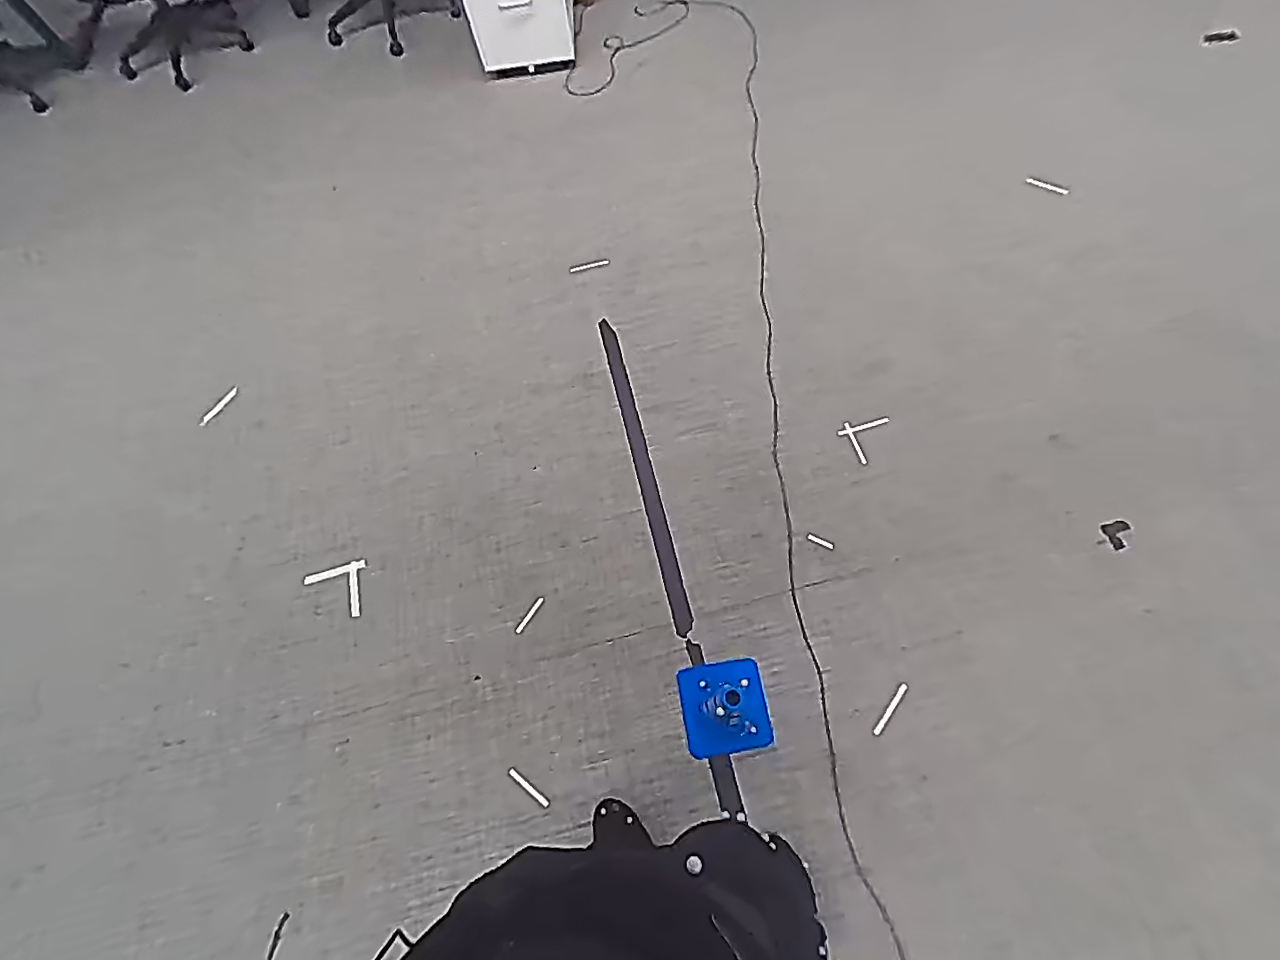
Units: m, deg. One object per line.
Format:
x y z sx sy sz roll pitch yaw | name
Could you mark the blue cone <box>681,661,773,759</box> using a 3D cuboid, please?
0.186 0.461 1.112 0.193 0.380 0.192 -11 64 0 | blue cone
